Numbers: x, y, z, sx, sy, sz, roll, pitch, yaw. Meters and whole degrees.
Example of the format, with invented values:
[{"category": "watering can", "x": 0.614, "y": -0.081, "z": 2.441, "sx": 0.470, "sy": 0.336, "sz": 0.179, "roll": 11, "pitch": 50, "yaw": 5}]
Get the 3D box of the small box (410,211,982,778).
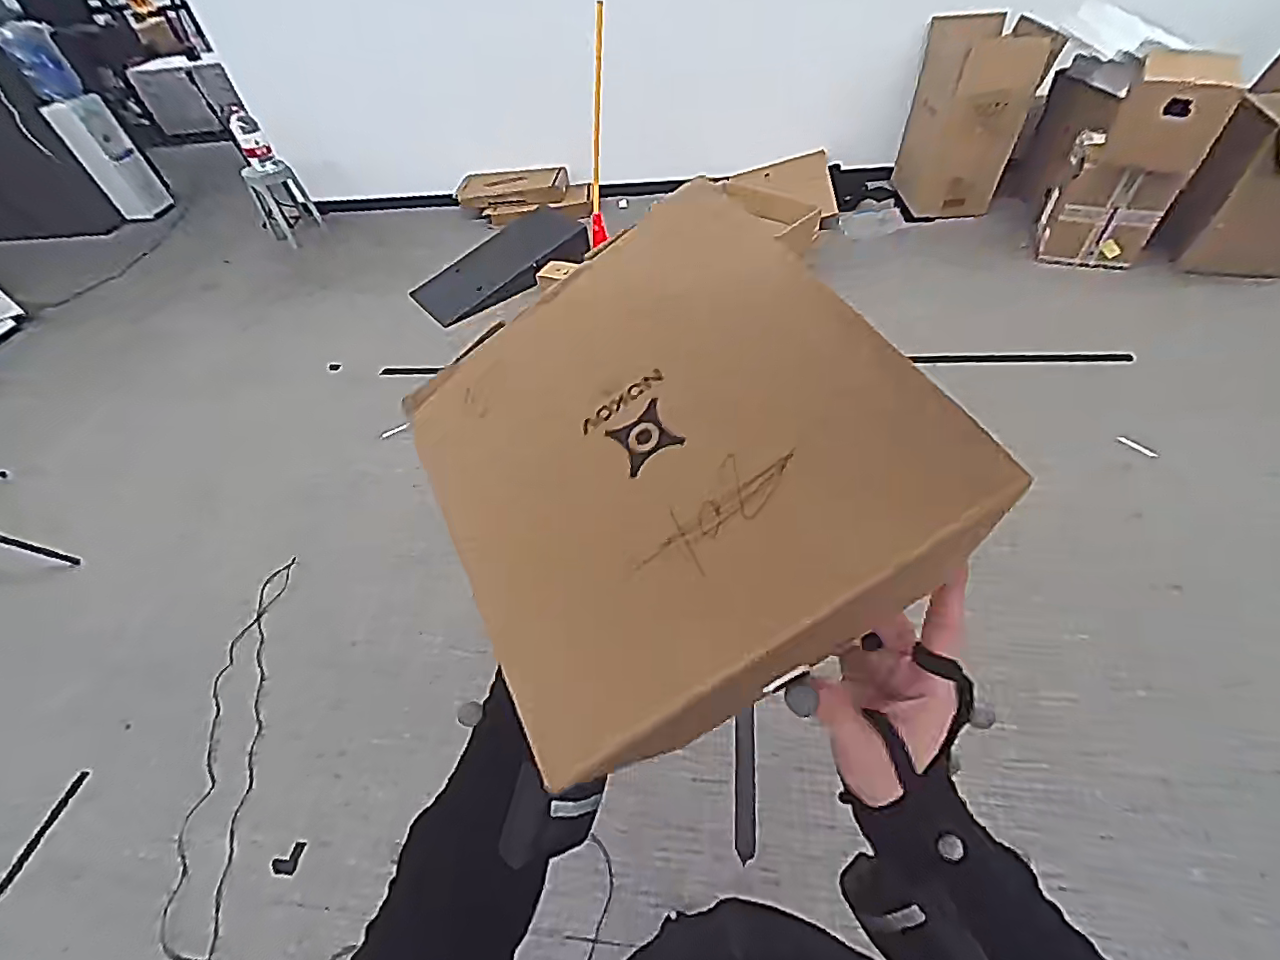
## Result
[{"category": "small box", "x": 0.024, "y": 0.016, "z": 0.277, "sx": 0.168, "sy": 0.176, "sz": 0.179, "roll": -37, "pitch": 62, "yaw": 6}]
